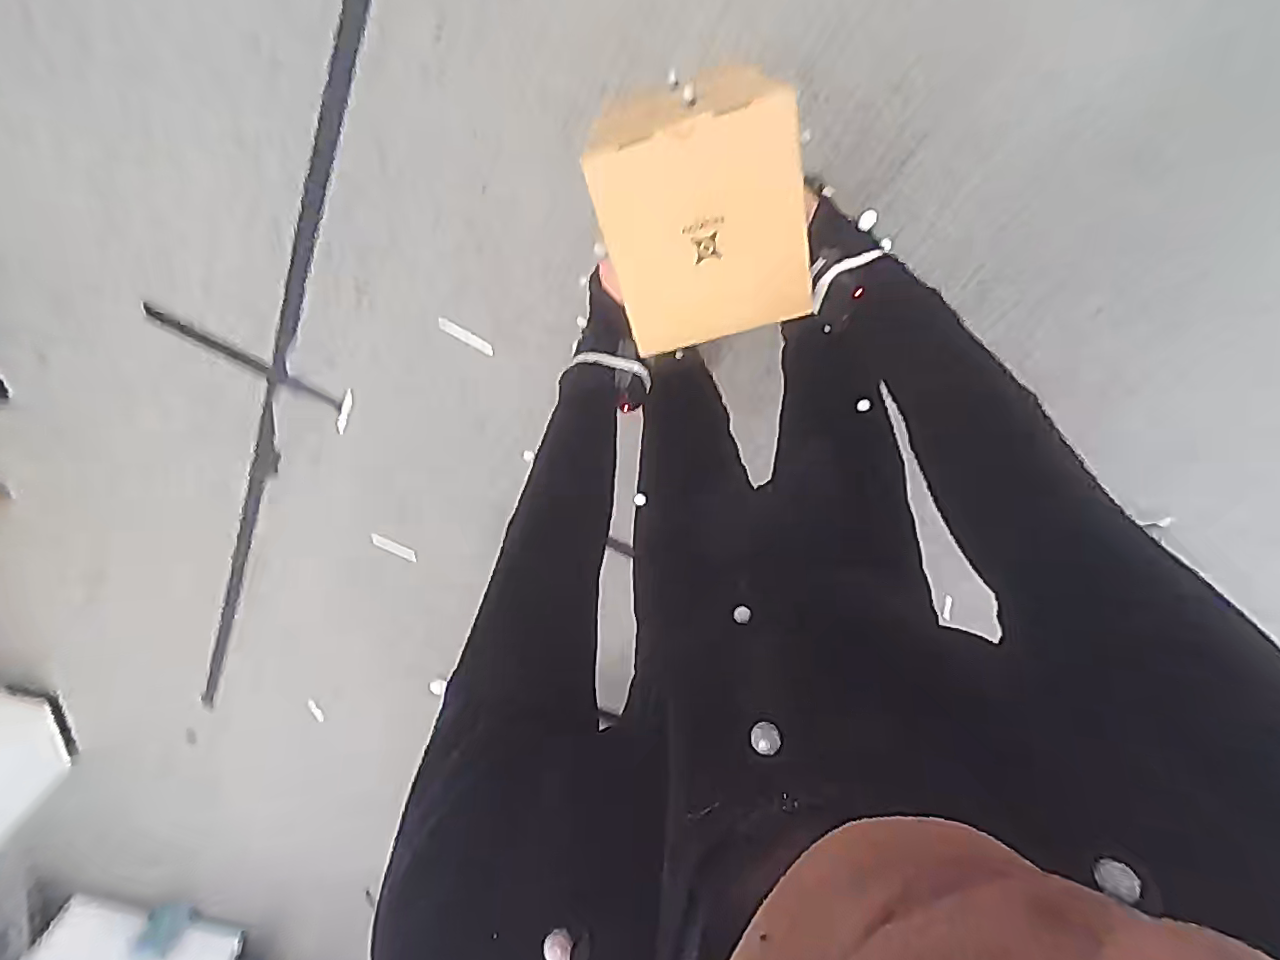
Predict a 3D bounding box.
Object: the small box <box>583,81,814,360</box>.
[{"bbox_3d":[0.058,-0.244,0.509,0.168,0.176,0.179,-12,128,11],"label":"small box"}]
